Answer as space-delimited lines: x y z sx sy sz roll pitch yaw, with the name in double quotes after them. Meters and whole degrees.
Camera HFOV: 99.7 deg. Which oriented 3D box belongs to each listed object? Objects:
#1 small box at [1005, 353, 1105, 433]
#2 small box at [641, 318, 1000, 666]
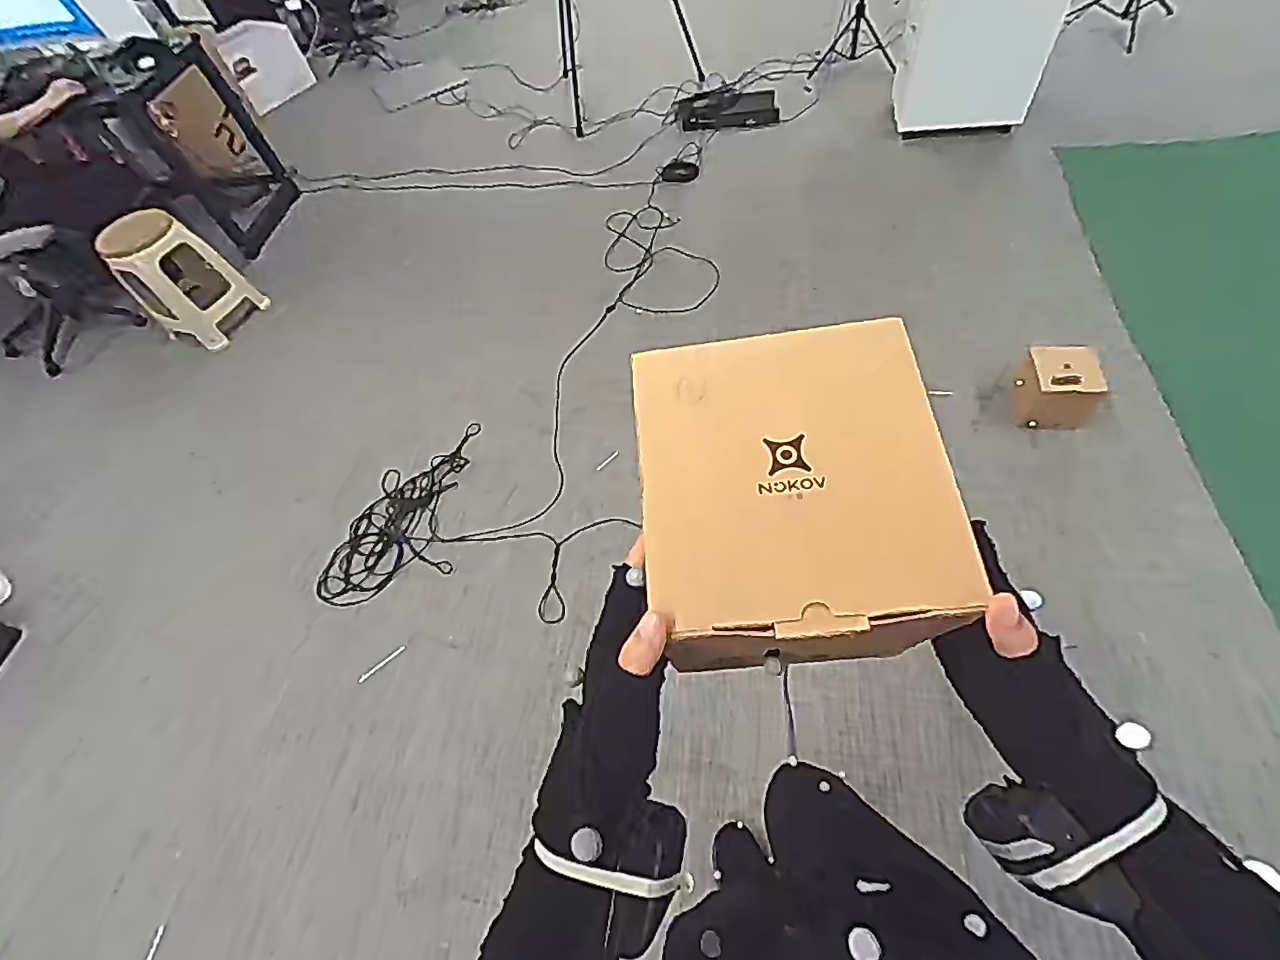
1.216 -0.255 1.600 0.168 0.176 0.179 4 58 11 "small box"
0.094 0.022 0.368 0.168 0.176 0.179 -7 65 5 "small box"
